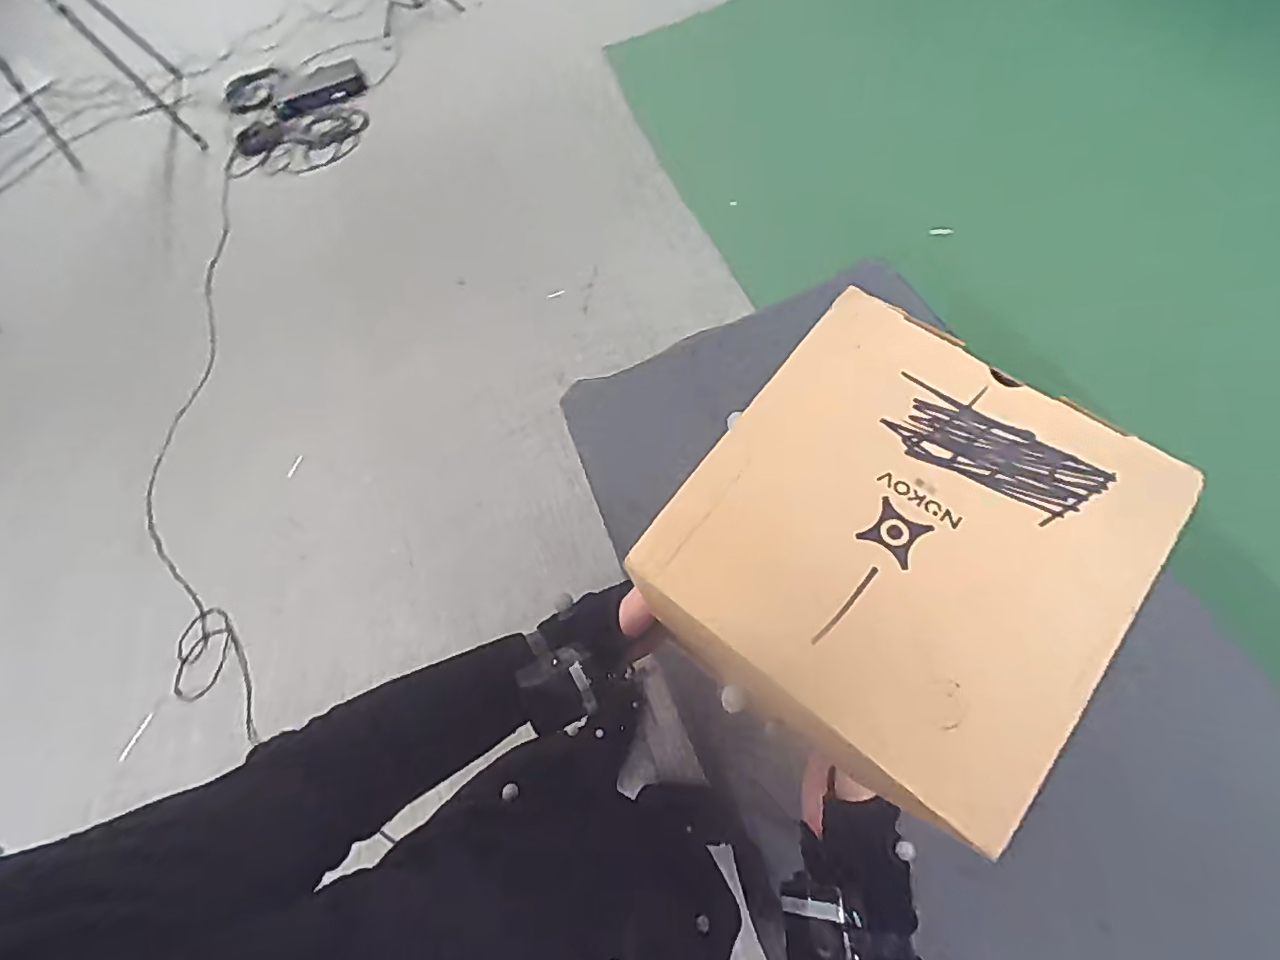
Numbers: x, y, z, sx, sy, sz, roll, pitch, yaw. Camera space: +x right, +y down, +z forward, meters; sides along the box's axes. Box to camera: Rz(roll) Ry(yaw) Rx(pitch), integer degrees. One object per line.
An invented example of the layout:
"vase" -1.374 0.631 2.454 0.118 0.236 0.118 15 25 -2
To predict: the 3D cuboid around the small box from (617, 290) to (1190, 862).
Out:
"small box" 0.110 0.044 0.293 0.168 0.176 0.179 37 78 17
